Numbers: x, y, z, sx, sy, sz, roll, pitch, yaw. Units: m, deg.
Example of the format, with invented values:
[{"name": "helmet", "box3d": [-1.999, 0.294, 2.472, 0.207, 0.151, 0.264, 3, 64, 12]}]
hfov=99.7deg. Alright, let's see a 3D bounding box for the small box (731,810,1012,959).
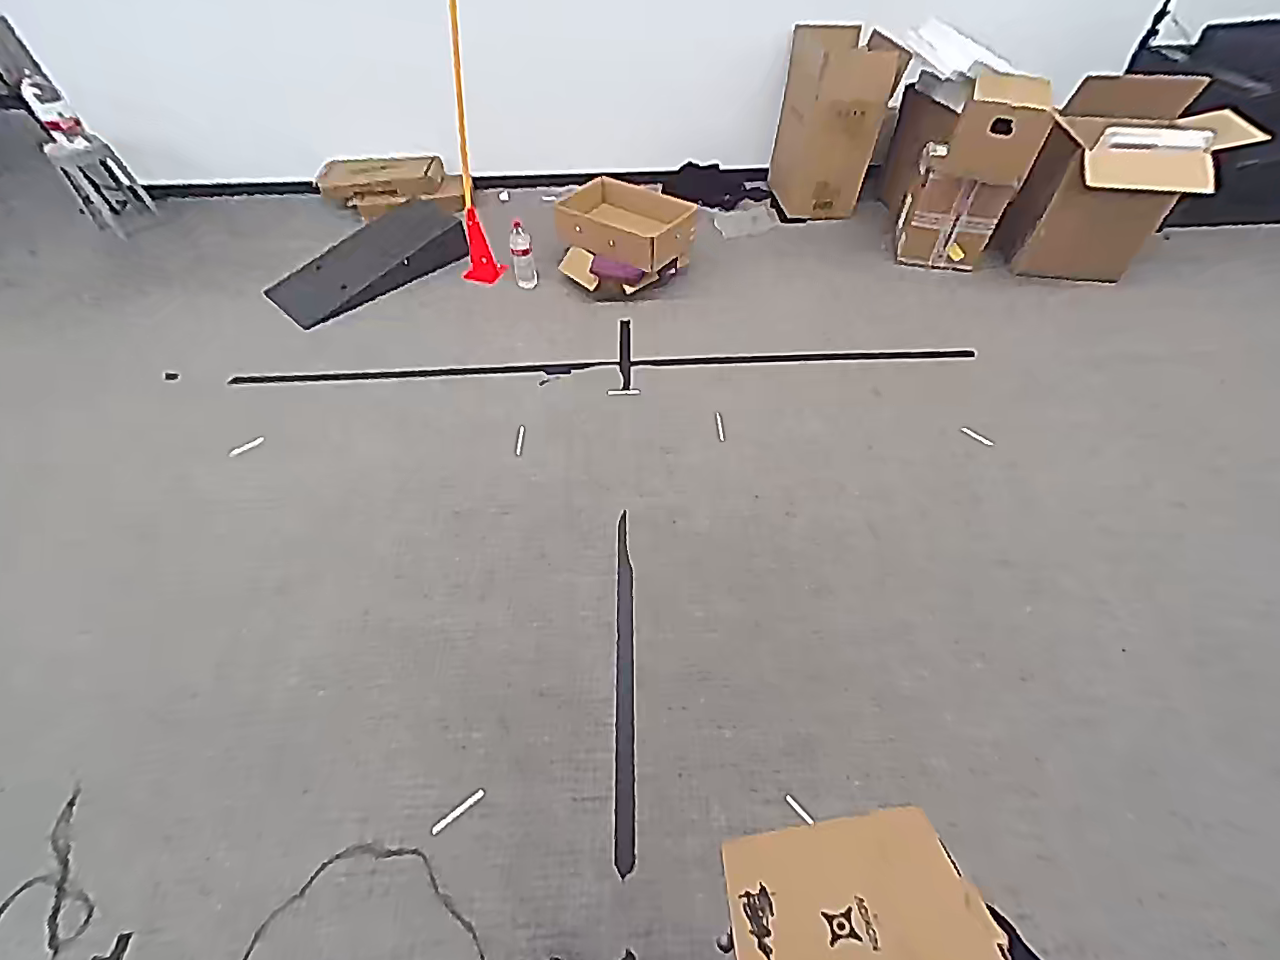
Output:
[{"name": "small box", "box3d": [0.179, 0.399, 0.415, 0.179, 0.176, 0.168, -13, 14, 5]}]
